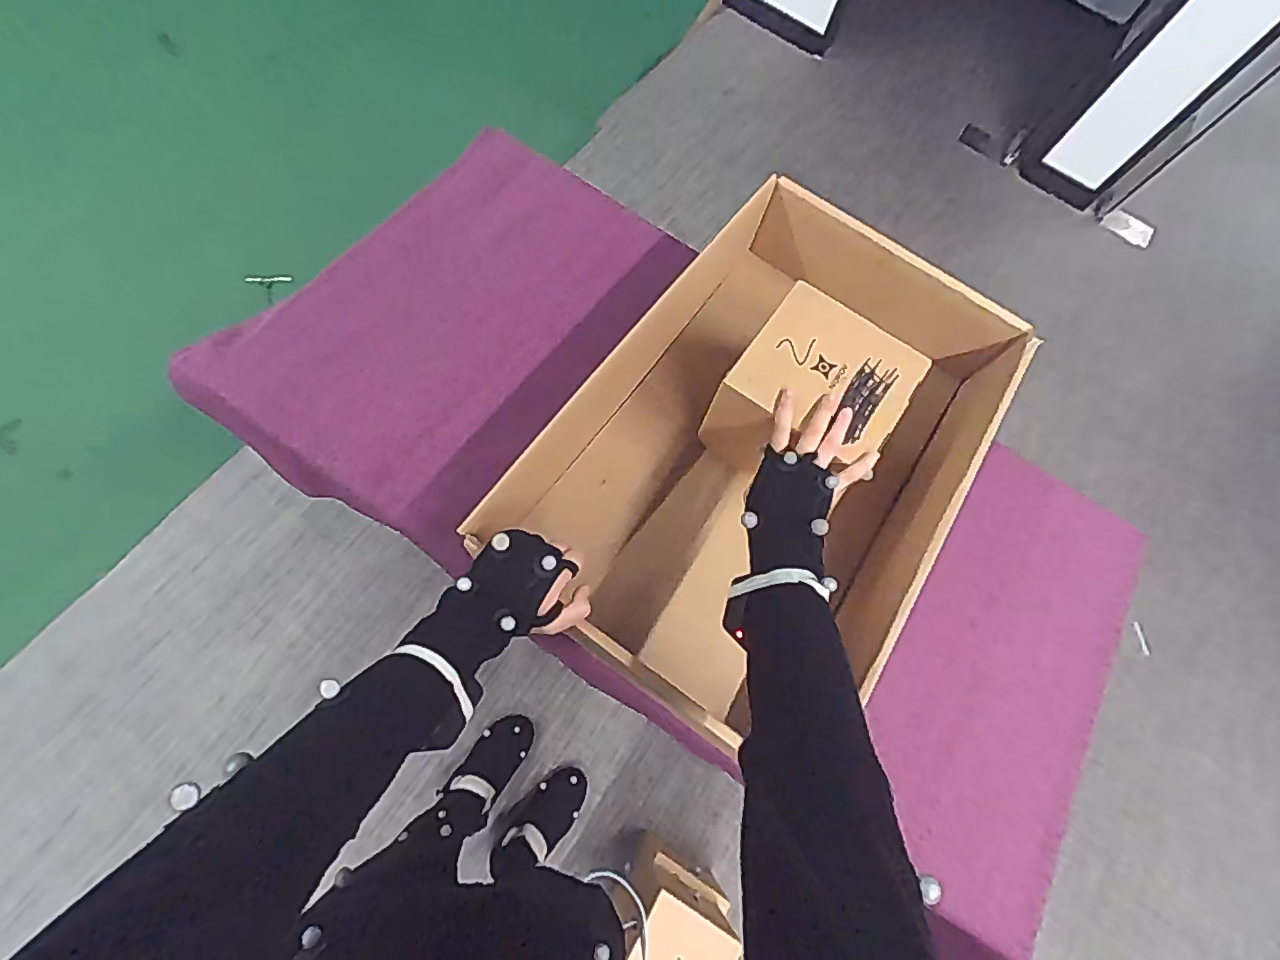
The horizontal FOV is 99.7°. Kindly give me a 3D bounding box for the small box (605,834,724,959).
[{"bbox_3d":[0.044,0.880,1.124,0.179,0.176,0.168,33,70,6],"label":"small box"}]
